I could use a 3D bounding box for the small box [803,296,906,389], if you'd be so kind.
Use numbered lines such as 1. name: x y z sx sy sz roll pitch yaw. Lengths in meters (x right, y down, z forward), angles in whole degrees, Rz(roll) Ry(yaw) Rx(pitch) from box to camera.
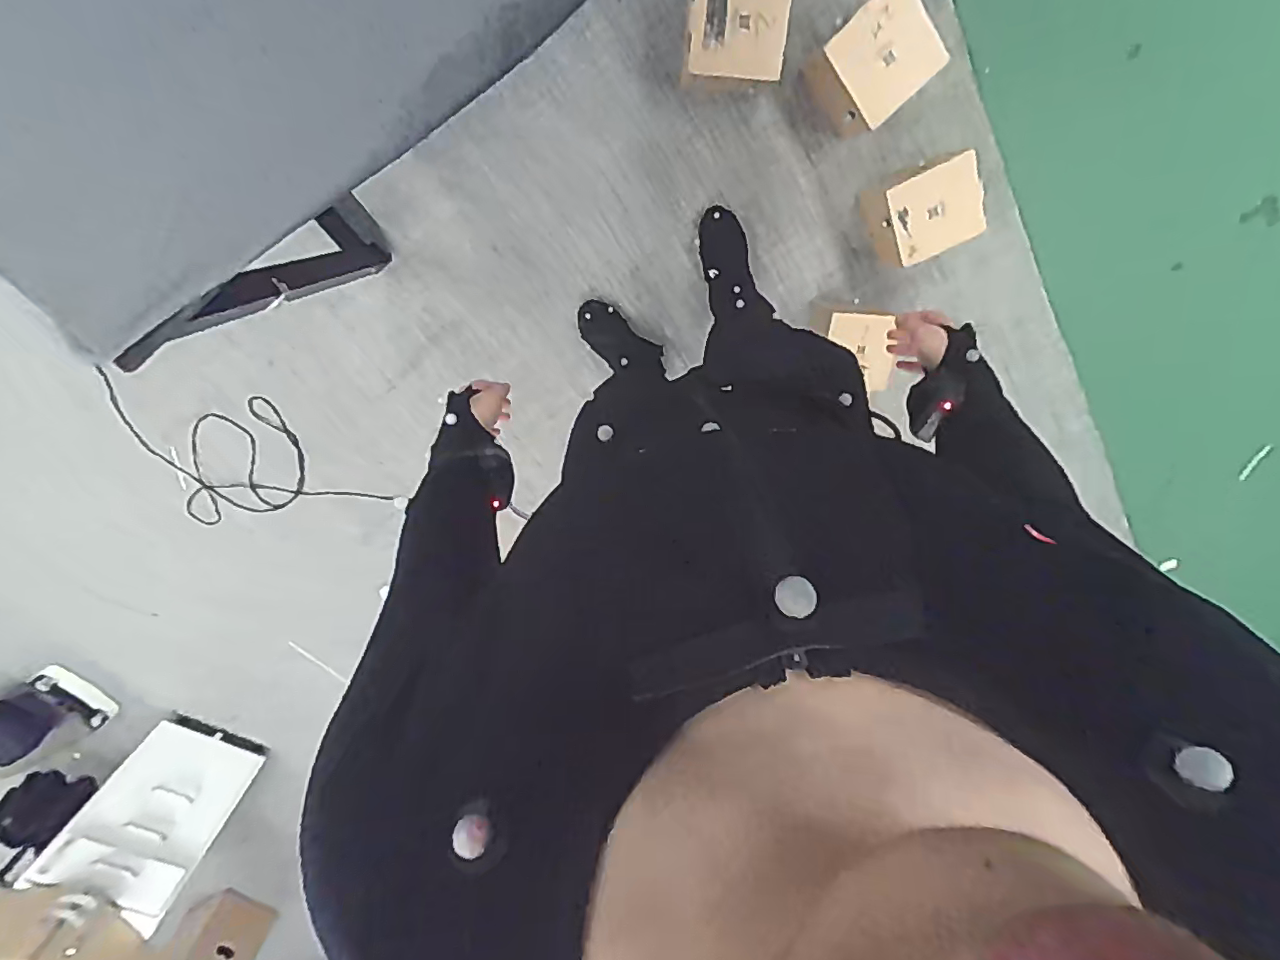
1. small box: 0.504 -0.335 1.304 0.168 0.176 0.179 4 118 -1

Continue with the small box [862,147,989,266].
1. small box: 0.607 -0.588 1.161 0.179 0.176 0.168 -22 117 13

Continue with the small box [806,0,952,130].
1. small box: 0.450 -0.810 1.041 0.168 0.176 0.179 -39 112 19
